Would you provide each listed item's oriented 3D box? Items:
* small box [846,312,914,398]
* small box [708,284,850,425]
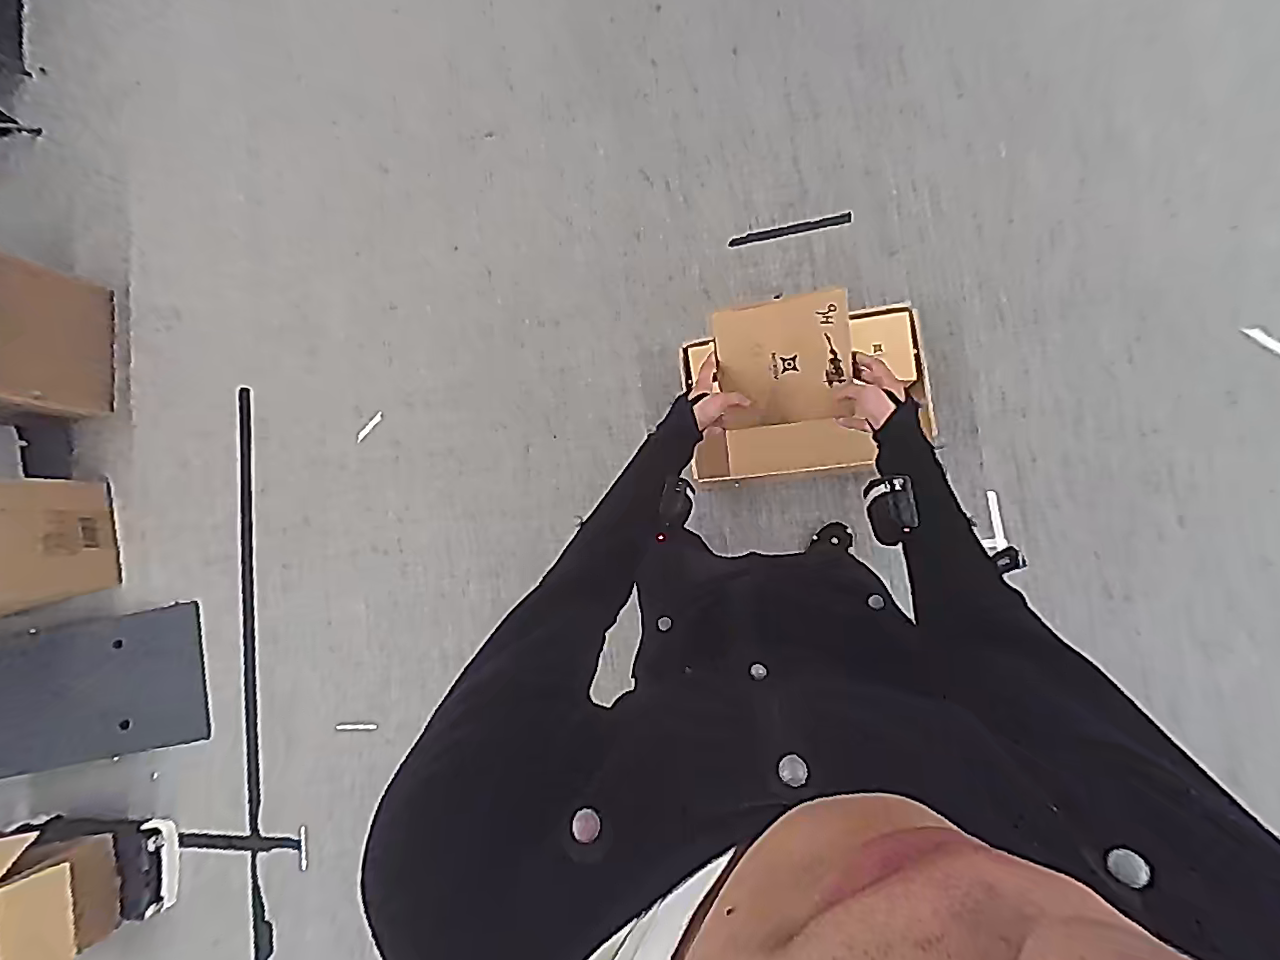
[{"bbox_3d":[0.610,-0.326,1.440,0.168,0.176,0.179,-6,87,12],"label":"small box"},{"bbox_3d":[0.207,-0.185,0.792,0.179,0.176,0.168,-5,108,18],"label":"small box"}]
